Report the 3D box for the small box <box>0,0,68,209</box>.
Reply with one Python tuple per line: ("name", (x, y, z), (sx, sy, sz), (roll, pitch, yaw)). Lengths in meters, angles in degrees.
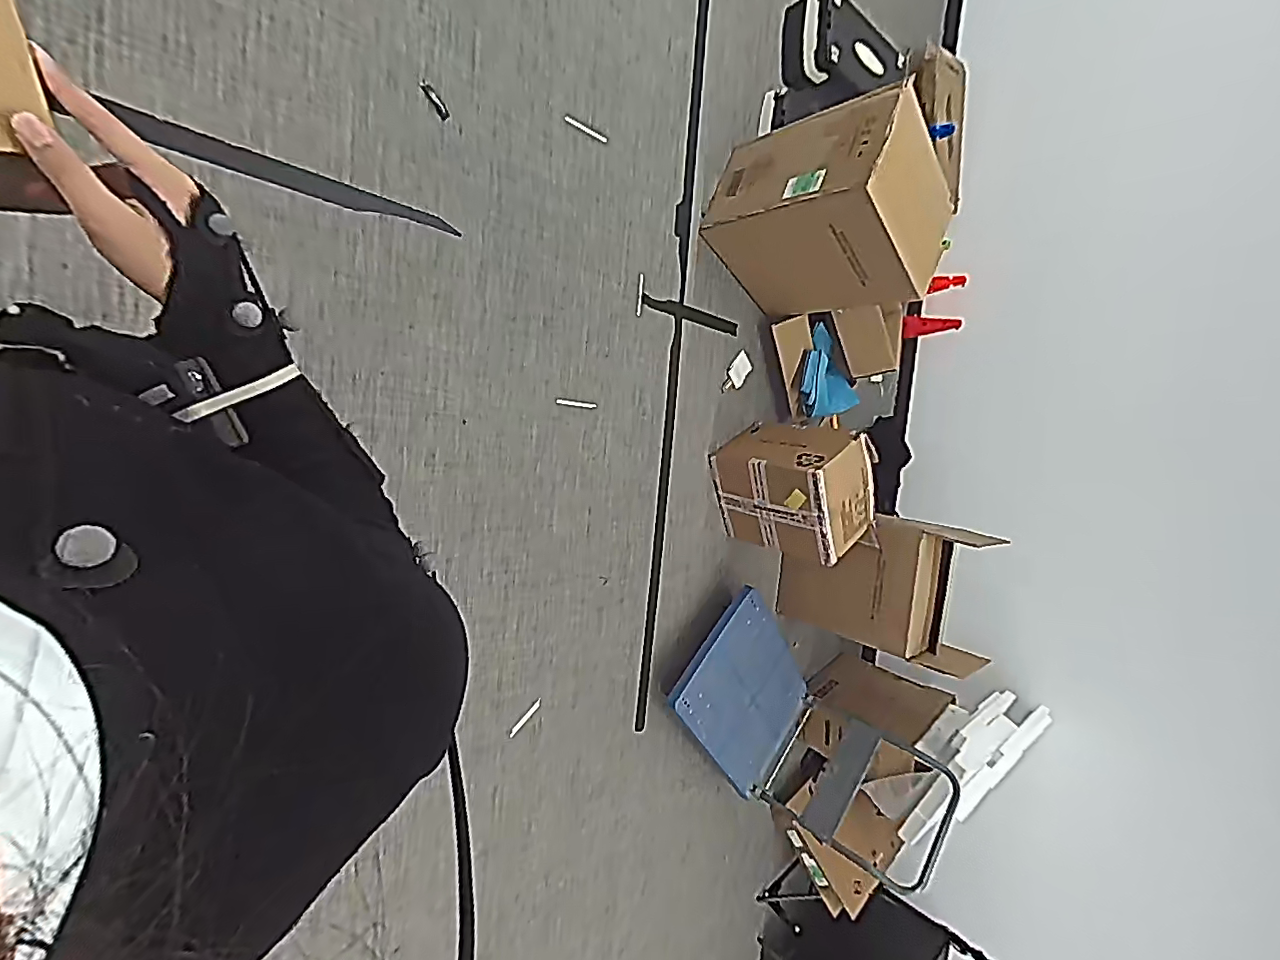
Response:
("small box", (-0.440, -0.248, 0.276), (0.179, 0.176, 0.168), (-19, 113, -43))
